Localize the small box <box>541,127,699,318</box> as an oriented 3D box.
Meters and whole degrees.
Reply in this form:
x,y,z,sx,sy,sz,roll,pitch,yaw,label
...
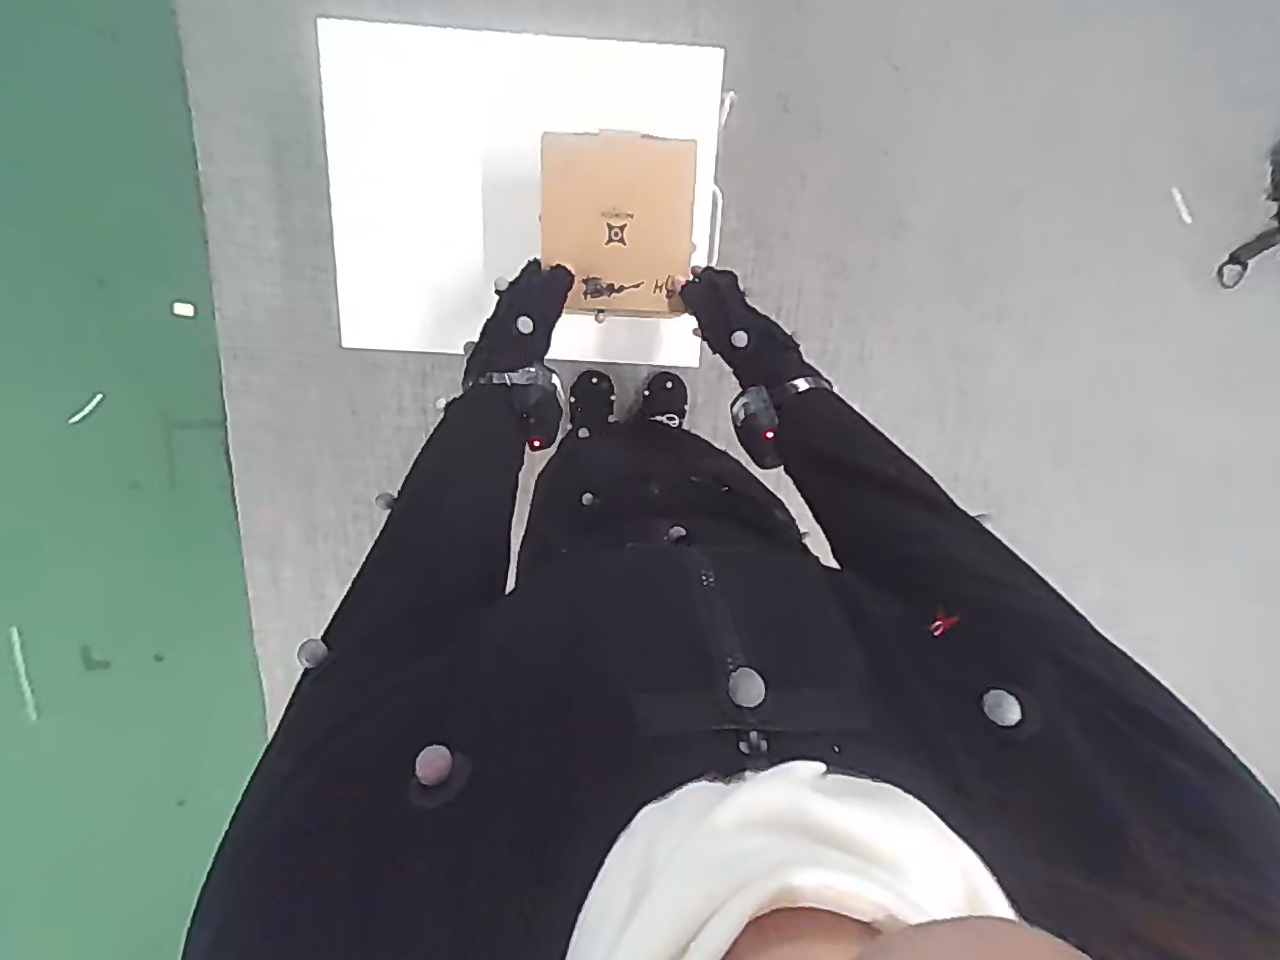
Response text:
x,y,z,sx,sy,sz,roll,pitch,yaw,label
-0.025,-0.298,0.661,0.168,0.176,0.179,3,104,-1,small box
